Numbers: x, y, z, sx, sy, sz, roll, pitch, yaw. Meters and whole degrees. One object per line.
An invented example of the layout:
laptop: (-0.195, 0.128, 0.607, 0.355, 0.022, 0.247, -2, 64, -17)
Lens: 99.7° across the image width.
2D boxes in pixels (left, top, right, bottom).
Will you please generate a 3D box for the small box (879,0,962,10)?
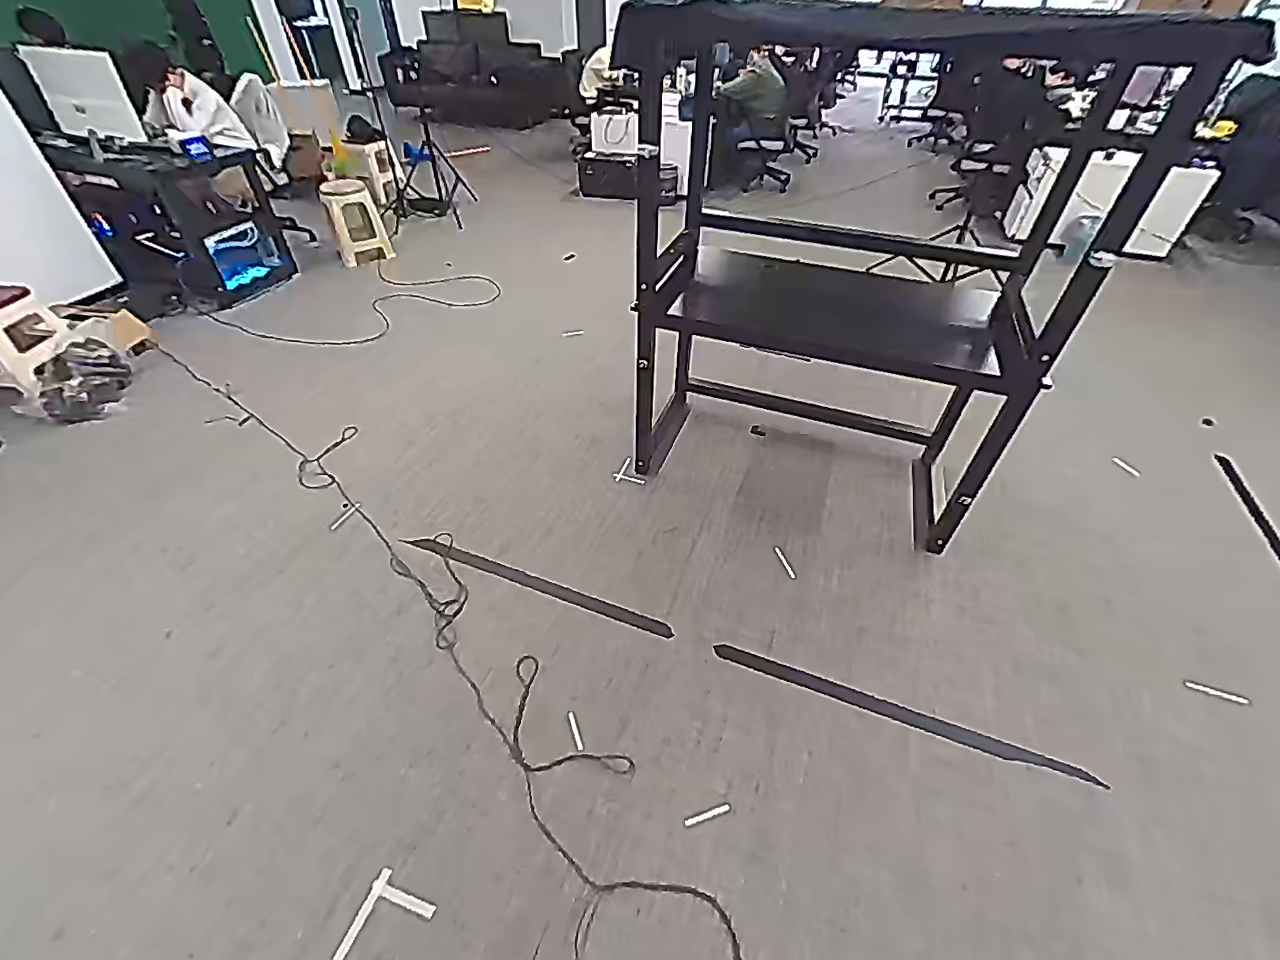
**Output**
small box: (0.623, -1.118, 1.154, 0.168, 0.176, 0.179, 15, 43, 14)
